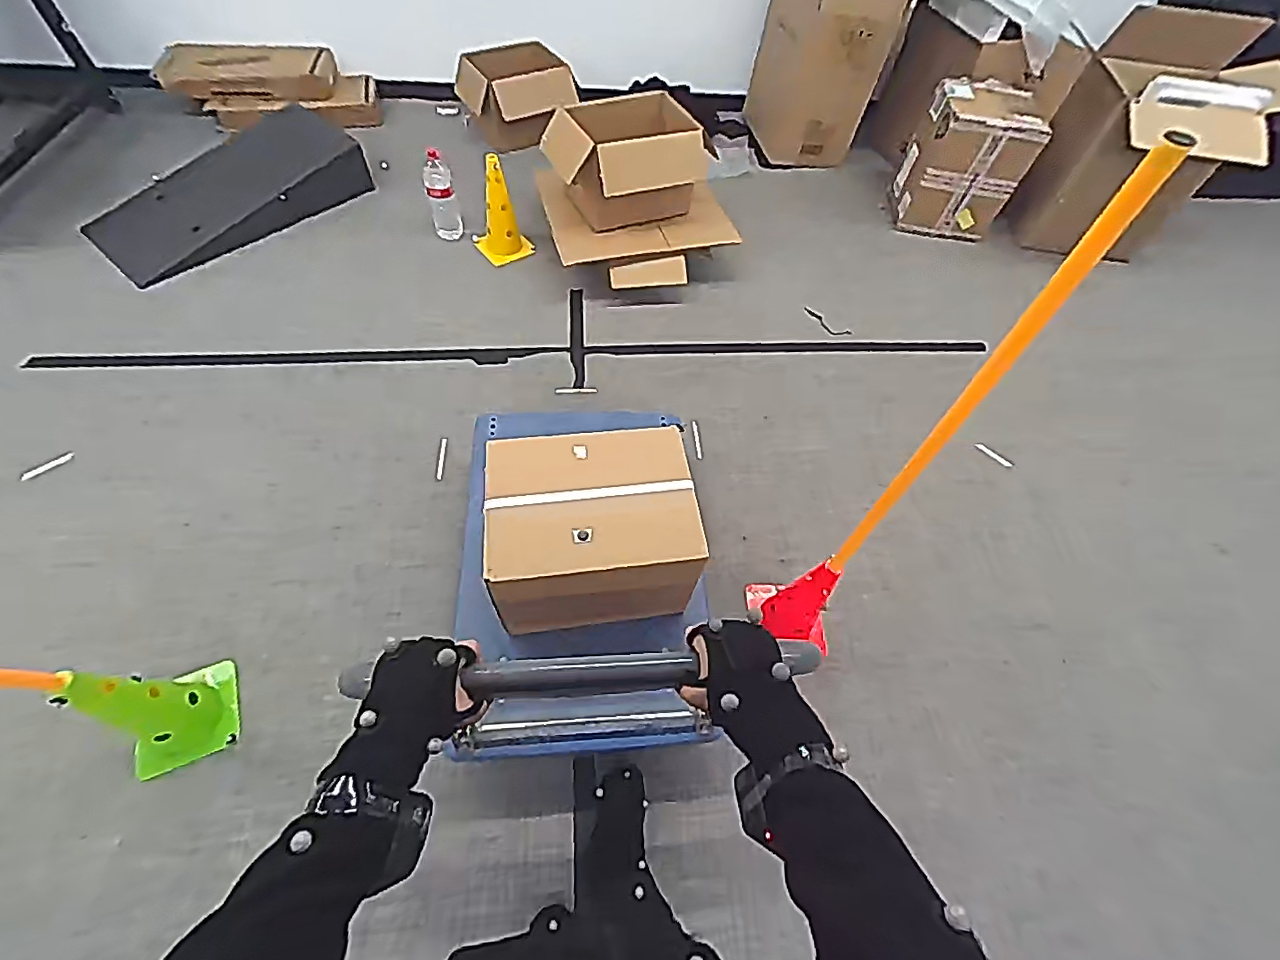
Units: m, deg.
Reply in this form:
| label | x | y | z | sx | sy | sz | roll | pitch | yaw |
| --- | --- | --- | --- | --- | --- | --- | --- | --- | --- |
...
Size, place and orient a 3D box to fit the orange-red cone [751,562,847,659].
| label | x | y | z | sx | sy | sz | roll | pitch | yaw |
| --- | --- | --- | --- | --- | --- | --- | --- | --- | --- |
| orange-red cone | 0.411 | 0.283 | 1.296 | 0.199 | 0.360 | 0.198 | 4 | 57 | -4 |
